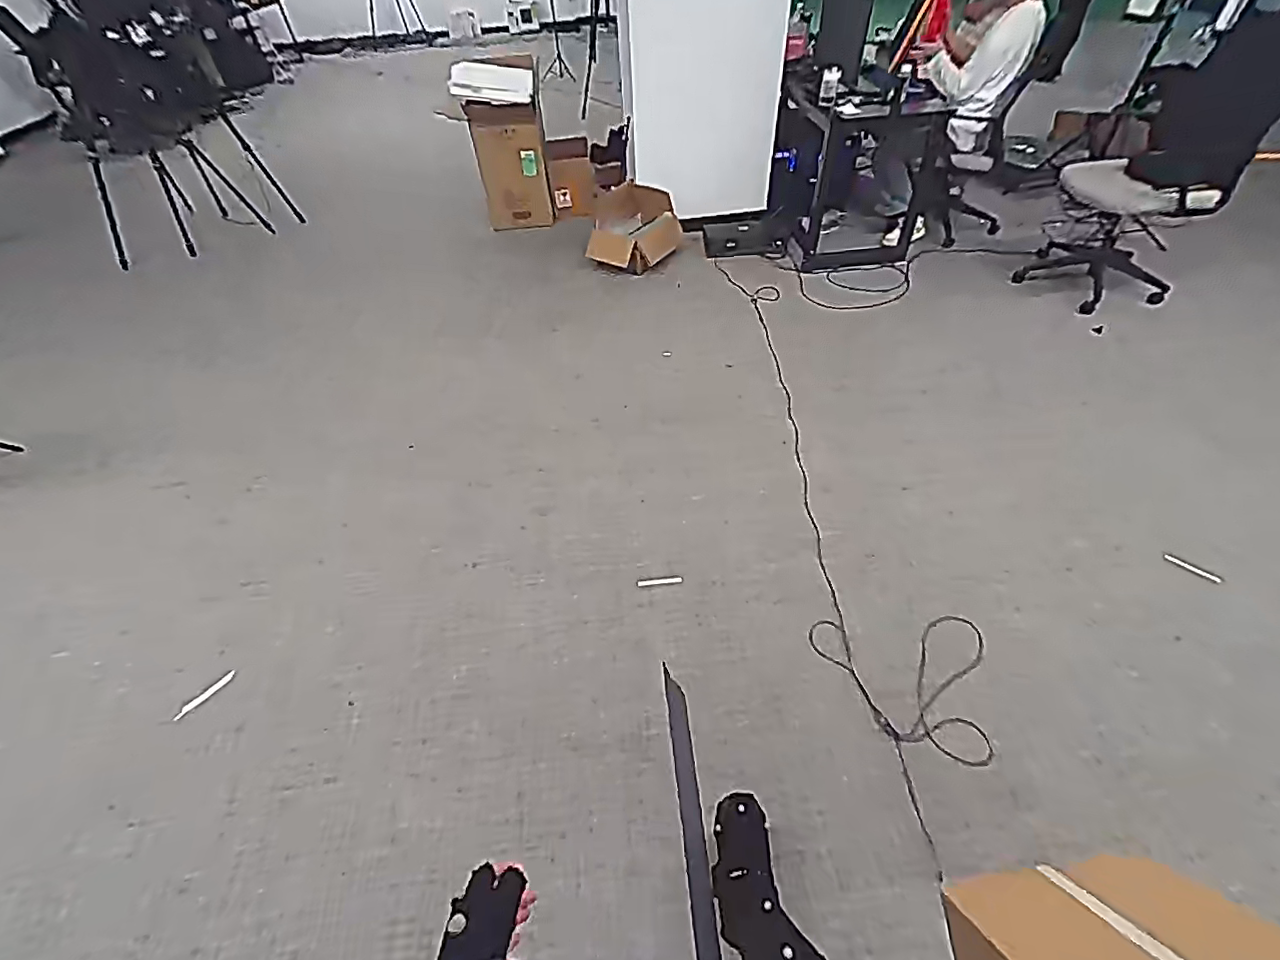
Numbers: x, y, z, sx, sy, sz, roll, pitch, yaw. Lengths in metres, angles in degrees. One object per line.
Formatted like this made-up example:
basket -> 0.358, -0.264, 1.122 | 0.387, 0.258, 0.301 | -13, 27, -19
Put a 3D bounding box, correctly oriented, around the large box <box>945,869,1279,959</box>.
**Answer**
large box -> 0.611, 0.700, 0.574 | 0.320, 0.408, 0.320 | -7, 80, -2
